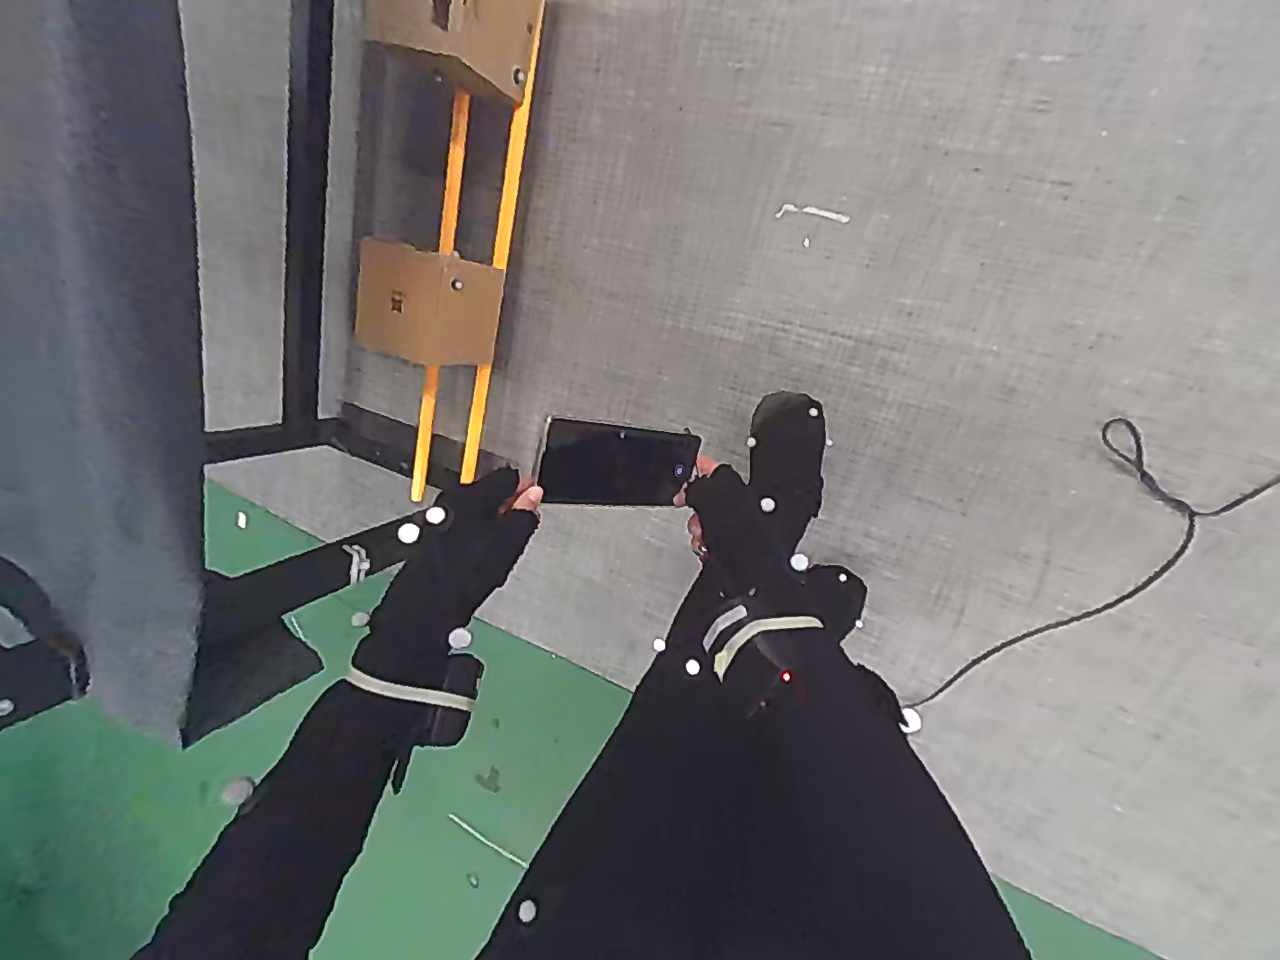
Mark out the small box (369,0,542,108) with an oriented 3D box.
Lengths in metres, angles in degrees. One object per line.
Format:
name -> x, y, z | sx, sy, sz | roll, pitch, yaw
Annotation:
small box -> -0.276, -0.704, 0.829 | 0.179, 0.176, 0.168 | 22, 109, 16
